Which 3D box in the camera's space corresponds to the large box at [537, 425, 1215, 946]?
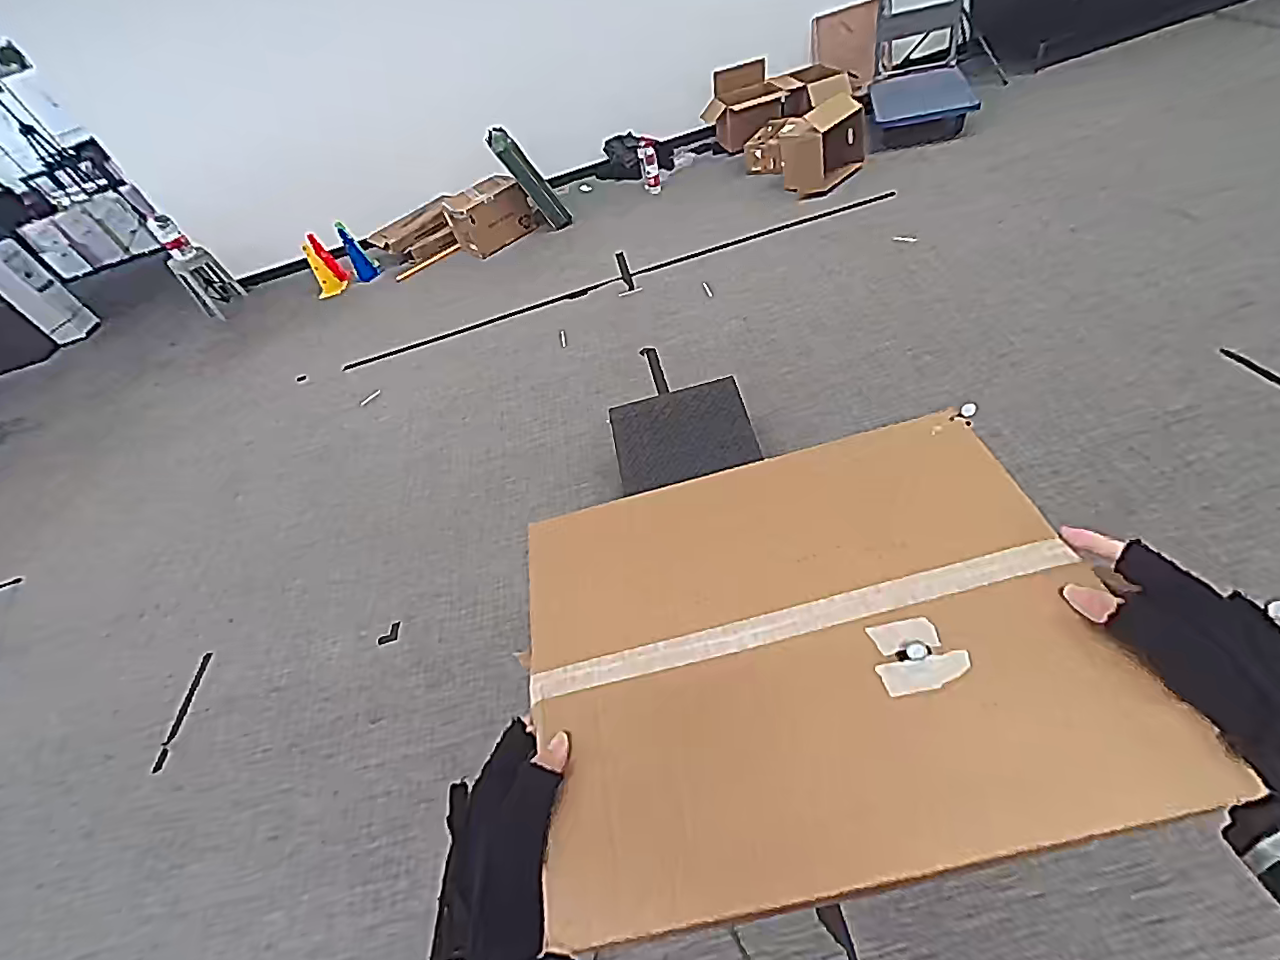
[{"bbox_3d":[0.147,0.206,0.527,0.408,0.320,0.320,-15,50,3],"label":"large box"}]
